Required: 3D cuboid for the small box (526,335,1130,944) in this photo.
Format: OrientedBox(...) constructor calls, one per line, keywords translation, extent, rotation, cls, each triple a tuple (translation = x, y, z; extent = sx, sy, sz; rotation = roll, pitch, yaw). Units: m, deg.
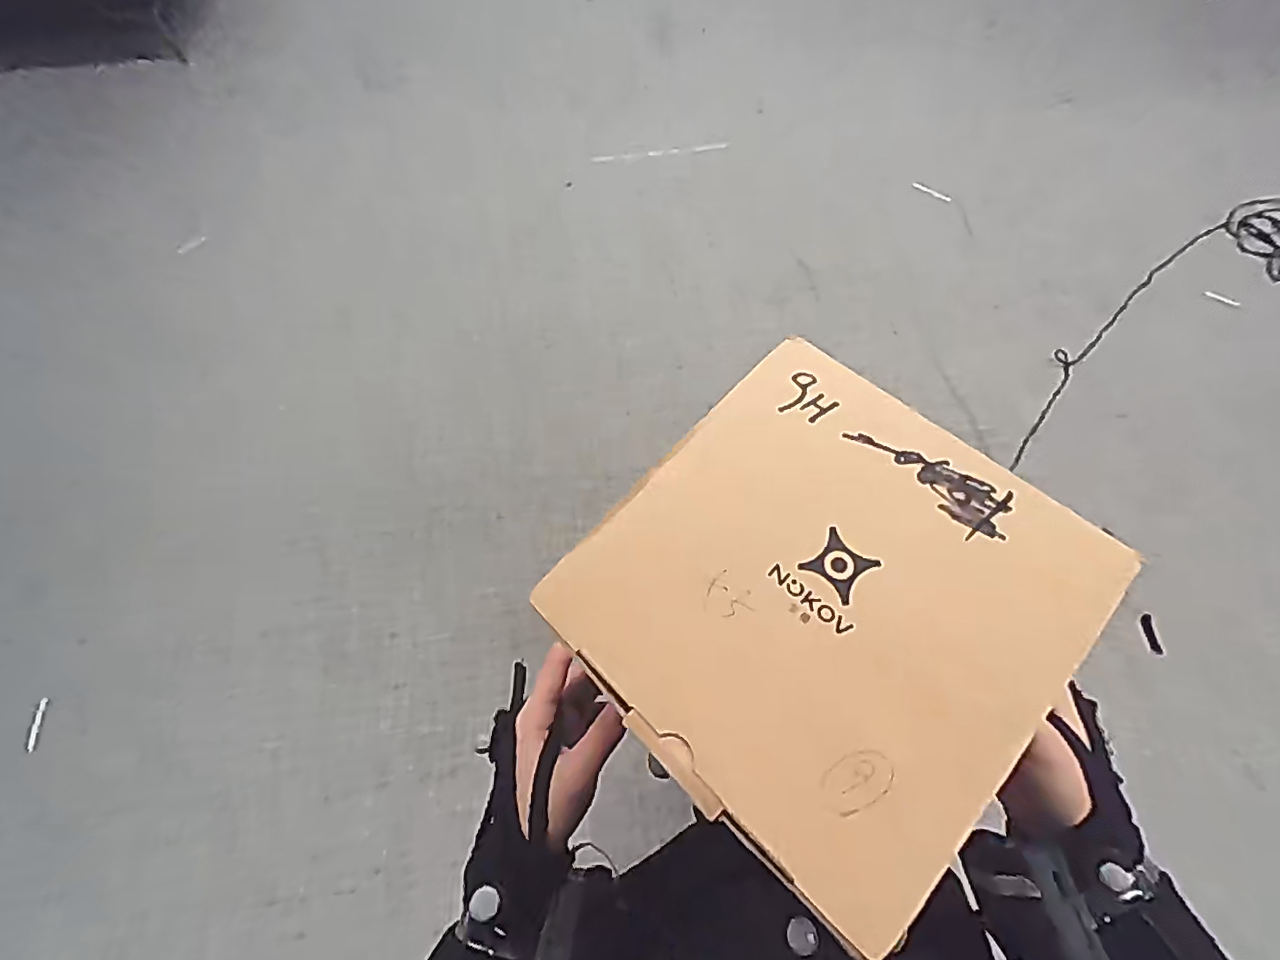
OrientedBox(translation=(0.077, 0.069, 0.284), extent=(0.168, 0.176, 0.179), rotation=(41, 77, 20), cls="small box")
